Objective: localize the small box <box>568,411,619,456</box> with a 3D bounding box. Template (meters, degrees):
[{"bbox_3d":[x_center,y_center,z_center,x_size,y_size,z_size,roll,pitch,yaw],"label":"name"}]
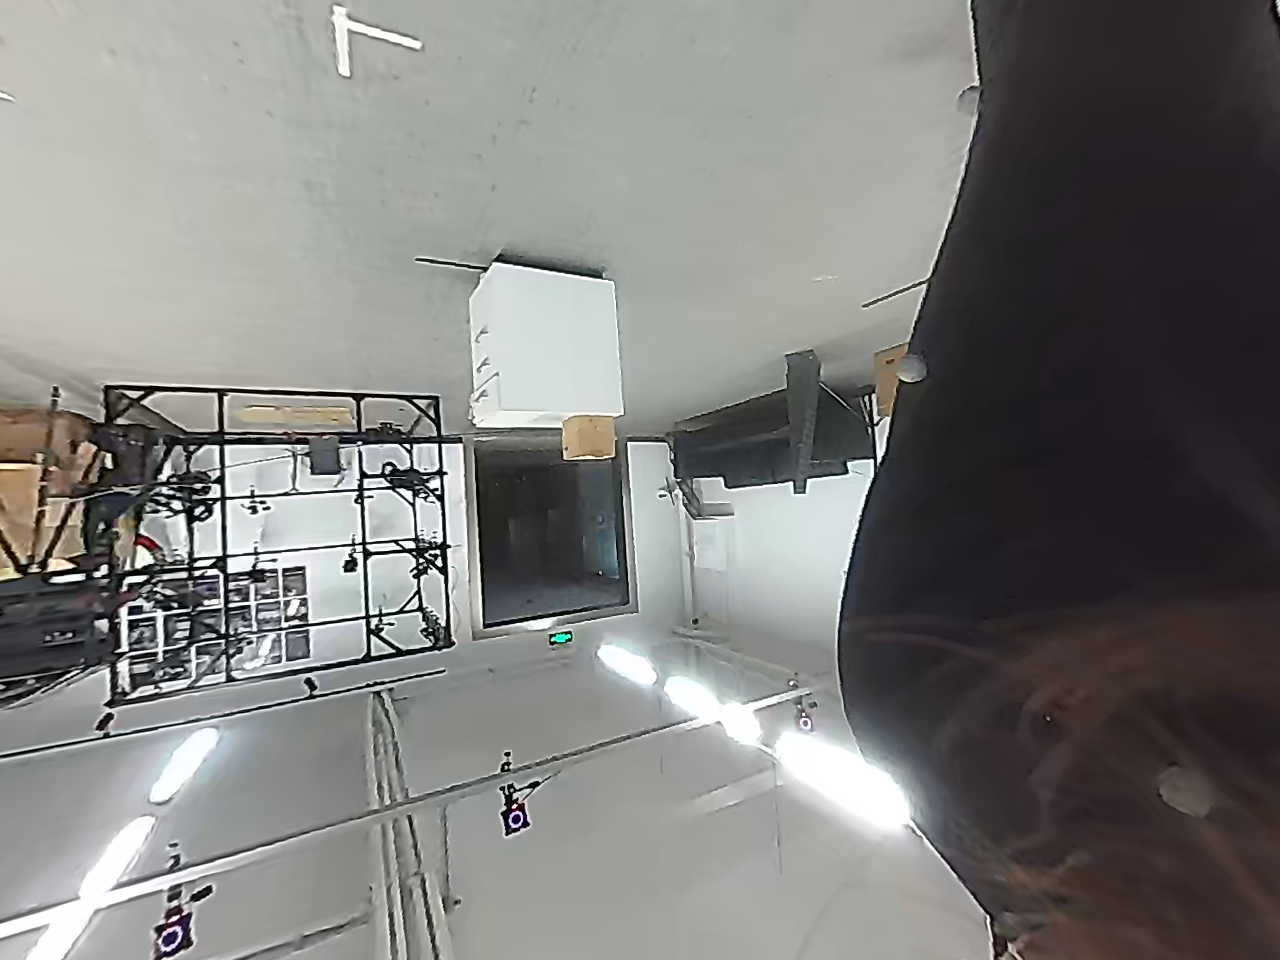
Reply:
[{"bbox_3d":[-0.200,-0.193,2.289,0.168,0.176,0.179,-3,179,-28],"label":"small box"}]
